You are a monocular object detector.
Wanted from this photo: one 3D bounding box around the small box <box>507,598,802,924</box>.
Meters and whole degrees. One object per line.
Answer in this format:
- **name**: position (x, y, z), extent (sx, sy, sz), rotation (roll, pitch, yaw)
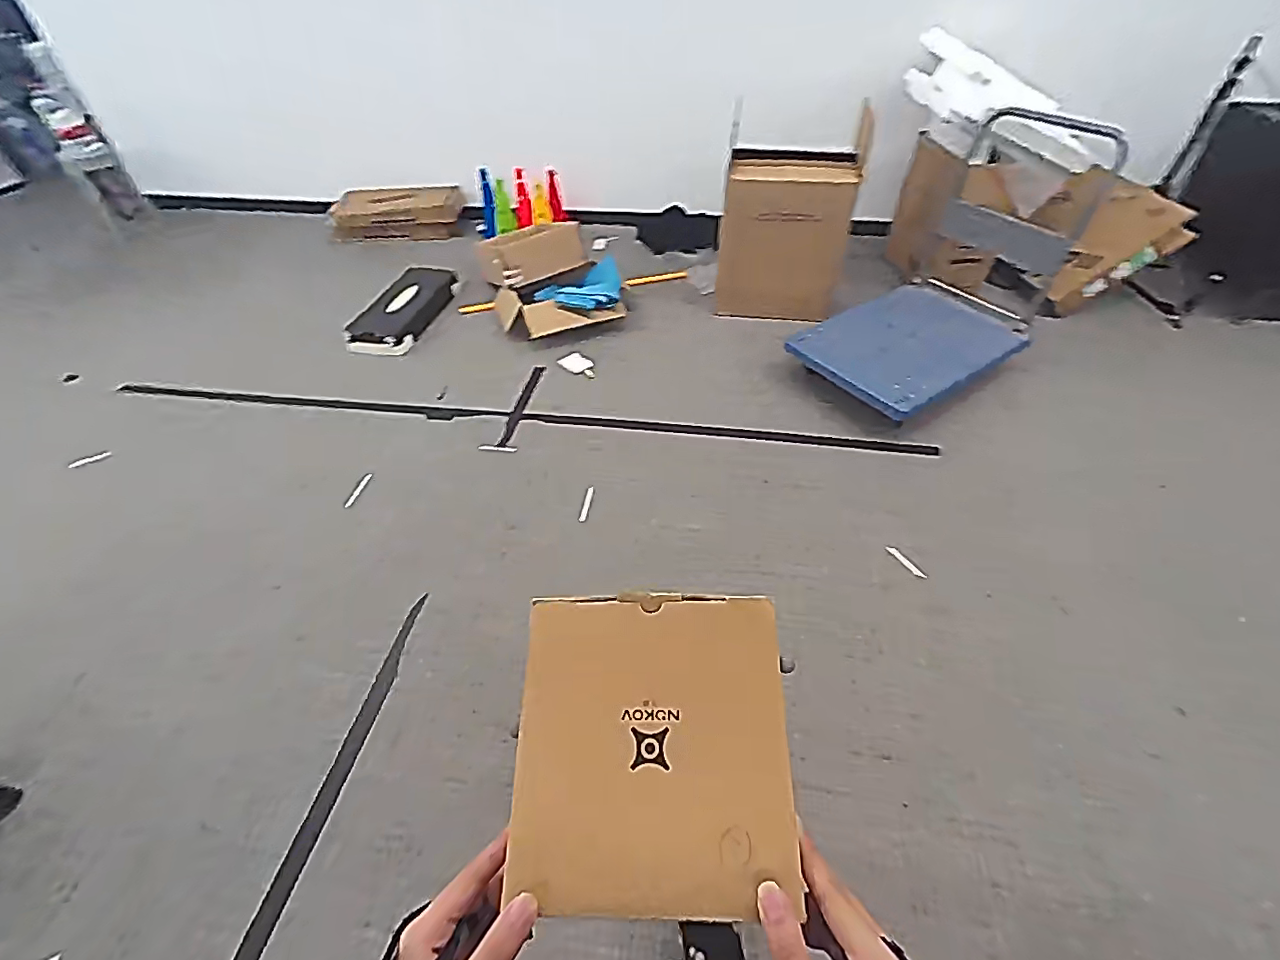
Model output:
- **small box**: position (0.012, 0.196, 0.400), extent (0.168, 0.176, 0.179), rotation (-3, 62, 3)
